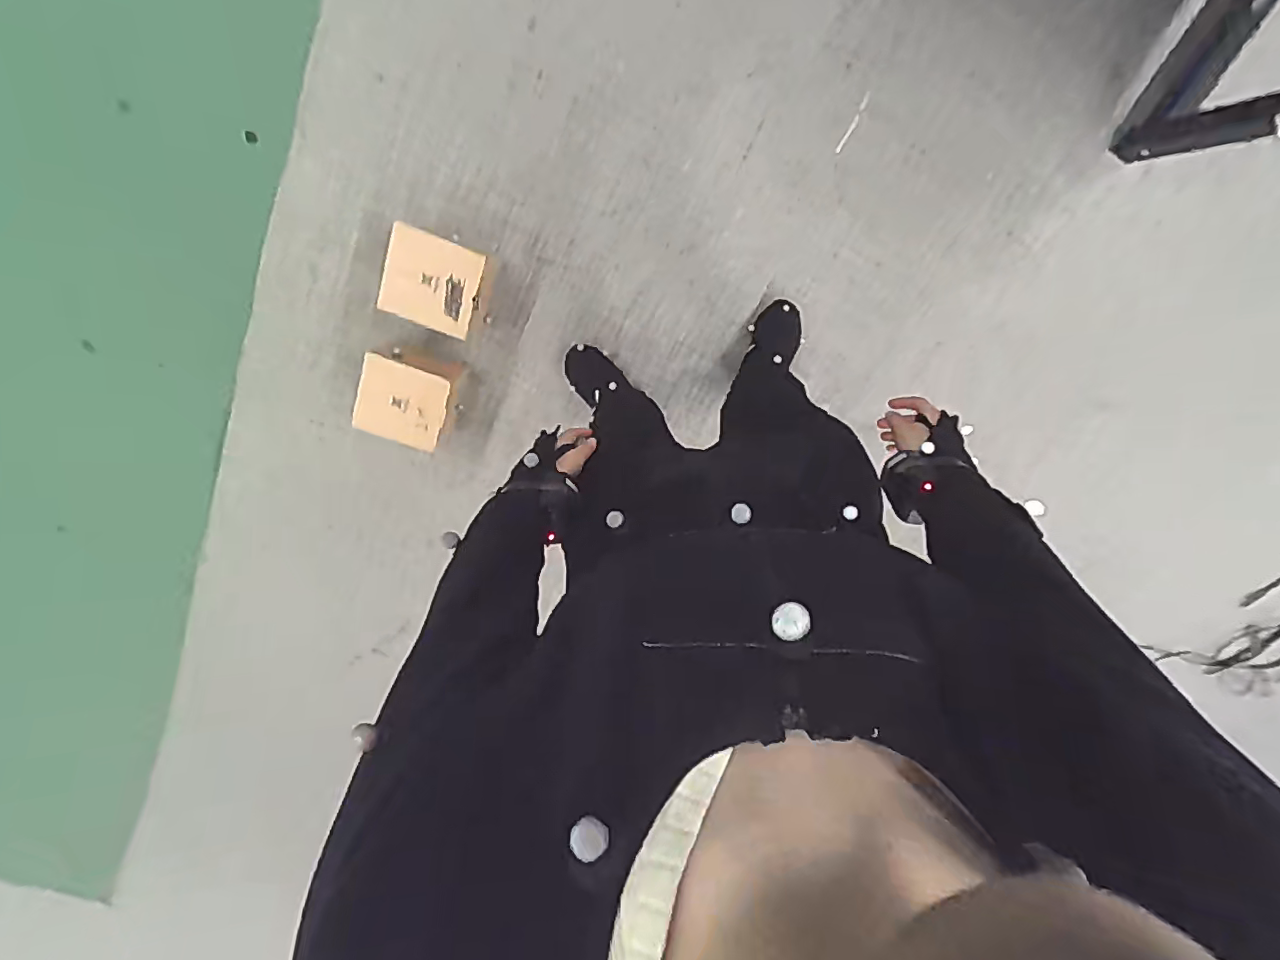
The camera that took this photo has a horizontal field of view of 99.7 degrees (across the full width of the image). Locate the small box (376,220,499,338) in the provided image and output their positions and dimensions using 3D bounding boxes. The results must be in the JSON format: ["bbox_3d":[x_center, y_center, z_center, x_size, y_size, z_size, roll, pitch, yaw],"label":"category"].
[{"bbox_3d":[-0.400,-0.407,1.096,0.179,0.176,0.168,19,109,-10],"label":"small box"}]

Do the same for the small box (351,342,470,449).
[{"bbox_3d":[-0.493,-0.191,1.178,0.179,0.176,0.168,18,110,-11],"label":"small box"}]
